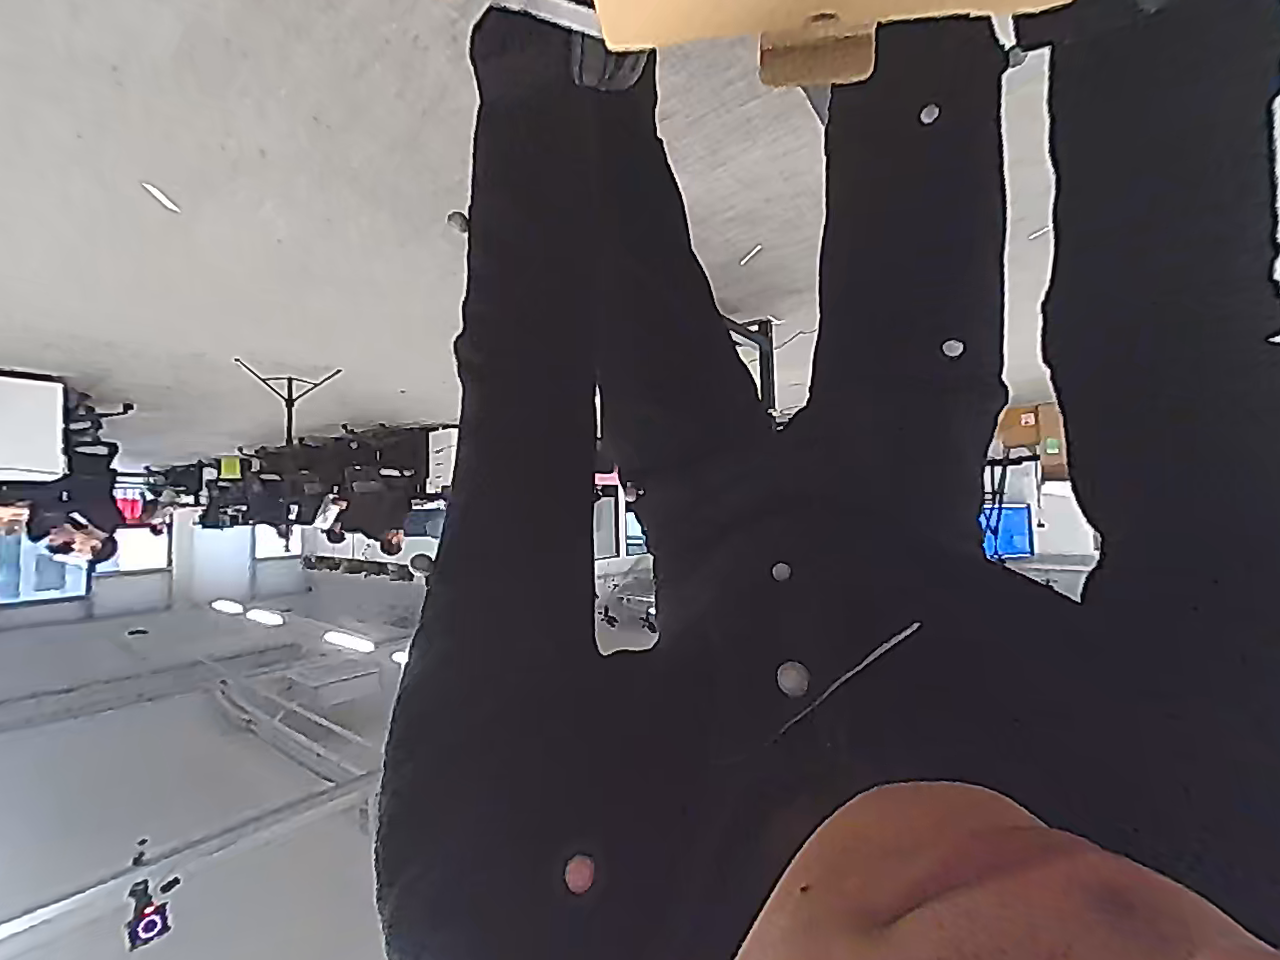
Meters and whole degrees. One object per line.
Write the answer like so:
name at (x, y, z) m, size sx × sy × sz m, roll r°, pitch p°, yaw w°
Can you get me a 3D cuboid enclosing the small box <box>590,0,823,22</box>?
small box at (0.054, -0.266, 0.122) m, size 0.168 × 0.176 × 0.179 m, roll 3°, pitch 174°, yaw 9°
